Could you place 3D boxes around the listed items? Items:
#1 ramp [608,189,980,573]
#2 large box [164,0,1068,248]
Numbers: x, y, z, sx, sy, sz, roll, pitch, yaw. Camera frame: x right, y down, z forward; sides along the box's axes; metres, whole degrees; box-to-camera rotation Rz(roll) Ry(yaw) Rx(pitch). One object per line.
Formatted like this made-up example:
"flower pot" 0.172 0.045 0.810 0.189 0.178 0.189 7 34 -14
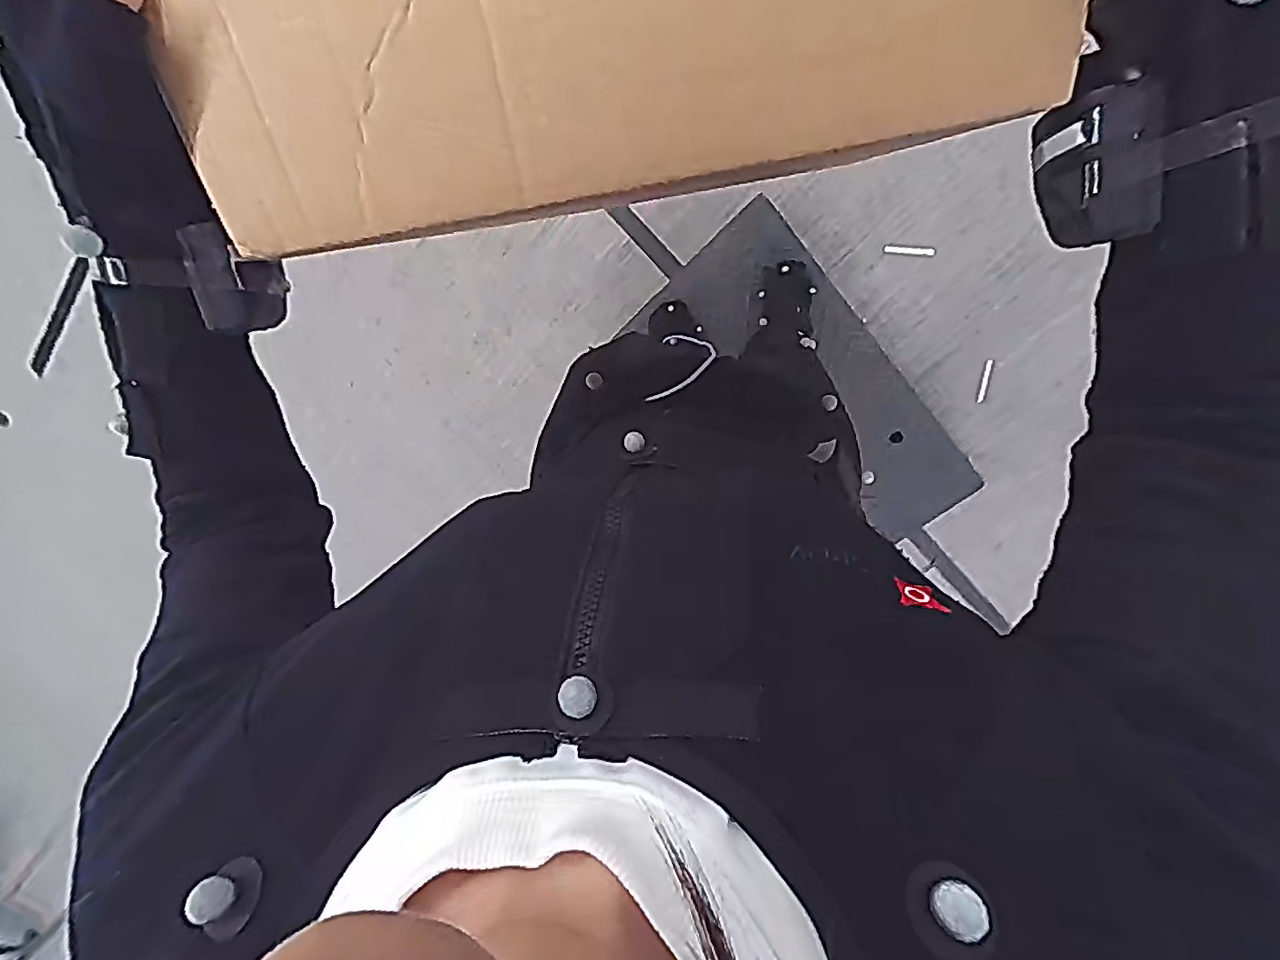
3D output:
"ramp" 0.435 -0.183 1.427 0.991 0.206 0.509 45 109 -8
"large box" -0.023 -0.353 0.338 0.408 0.320 0.320 -6 117 9
